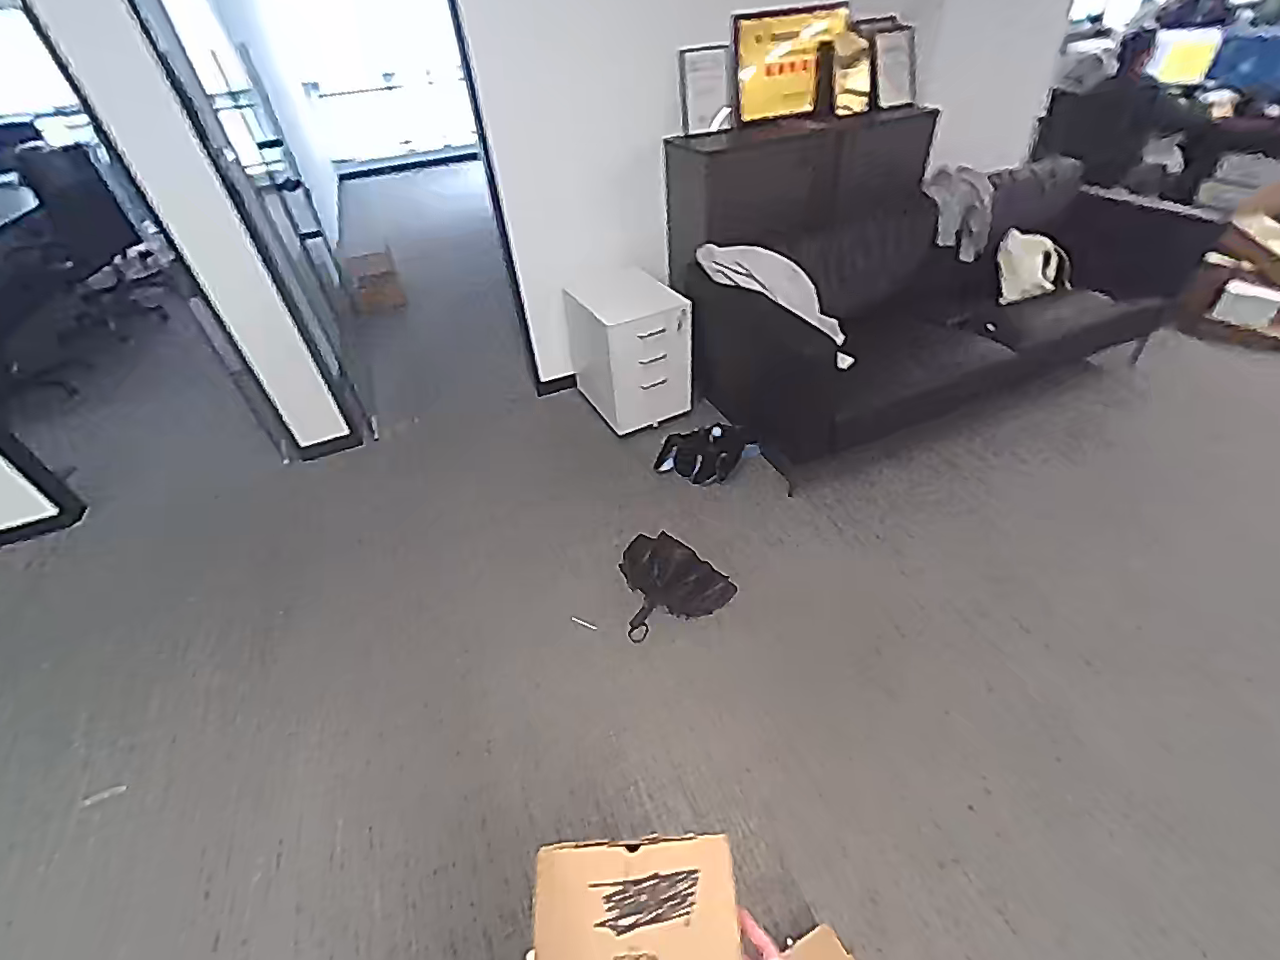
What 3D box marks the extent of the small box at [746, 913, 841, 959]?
[{"bbox_3d":[0.319,1.023,1.085,0.179,0.176,0.168,-22,44,-17],"label":"small box"}]
